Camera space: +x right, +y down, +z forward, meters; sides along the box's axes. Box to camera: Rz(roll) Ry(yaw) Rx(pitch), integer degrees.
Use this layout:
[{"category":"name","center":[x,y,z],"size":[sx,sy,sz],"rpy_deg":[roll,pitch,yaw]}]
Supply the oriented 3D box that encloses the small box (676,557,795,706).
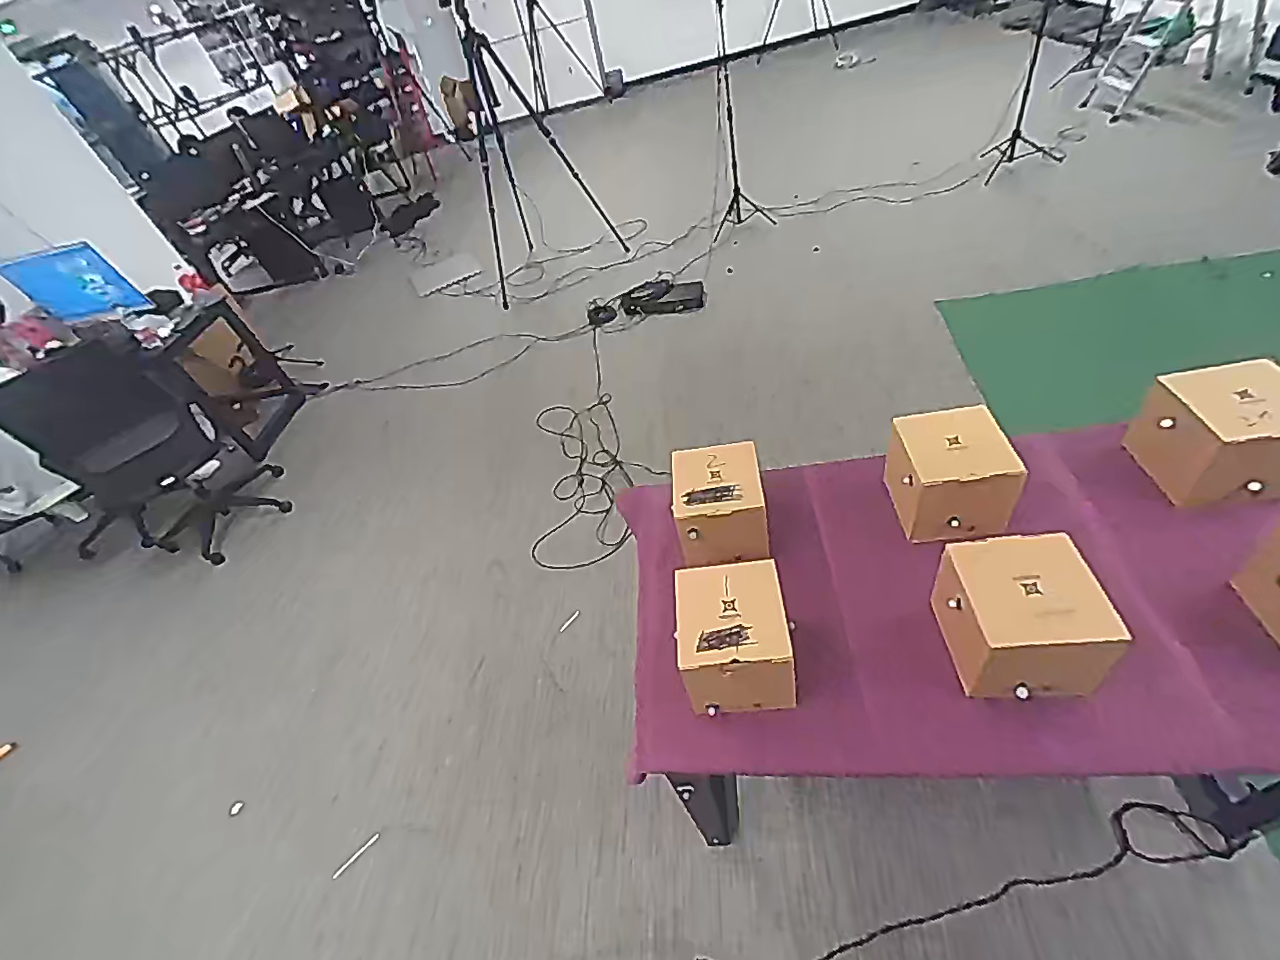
[{"category":"small box","center":[0.154,0.251,0.873],"size":[0.168,0.176,0.179],"rpy_deg":[-7,44,9]}]

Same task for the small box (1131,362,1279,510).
[{"category":"small box","center":[1.007,-0.073,0.930],"size":[0.168,0.176,0.179],"rpy_deg":[-9,46,12]}]

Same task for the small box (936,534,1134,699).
[{"category":"small box","center":[0.559,0.204,0.802],"size":[0.168,0.176,0.179],"rpy_deg":[-6,45,12]}]

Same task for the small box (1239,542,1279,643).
[{"category":"small box","center":[0.978,0.159,0.715],"size":[0.168,0.176,0.179],"rpy_deg":[-5,43,14]}]

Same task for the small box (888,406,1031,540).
[{"category":"small box","center":[0.576,-0.010,1.007],"size":[0.168,0.176,0.179],"rpy_deg":[-7,46,9]}]
